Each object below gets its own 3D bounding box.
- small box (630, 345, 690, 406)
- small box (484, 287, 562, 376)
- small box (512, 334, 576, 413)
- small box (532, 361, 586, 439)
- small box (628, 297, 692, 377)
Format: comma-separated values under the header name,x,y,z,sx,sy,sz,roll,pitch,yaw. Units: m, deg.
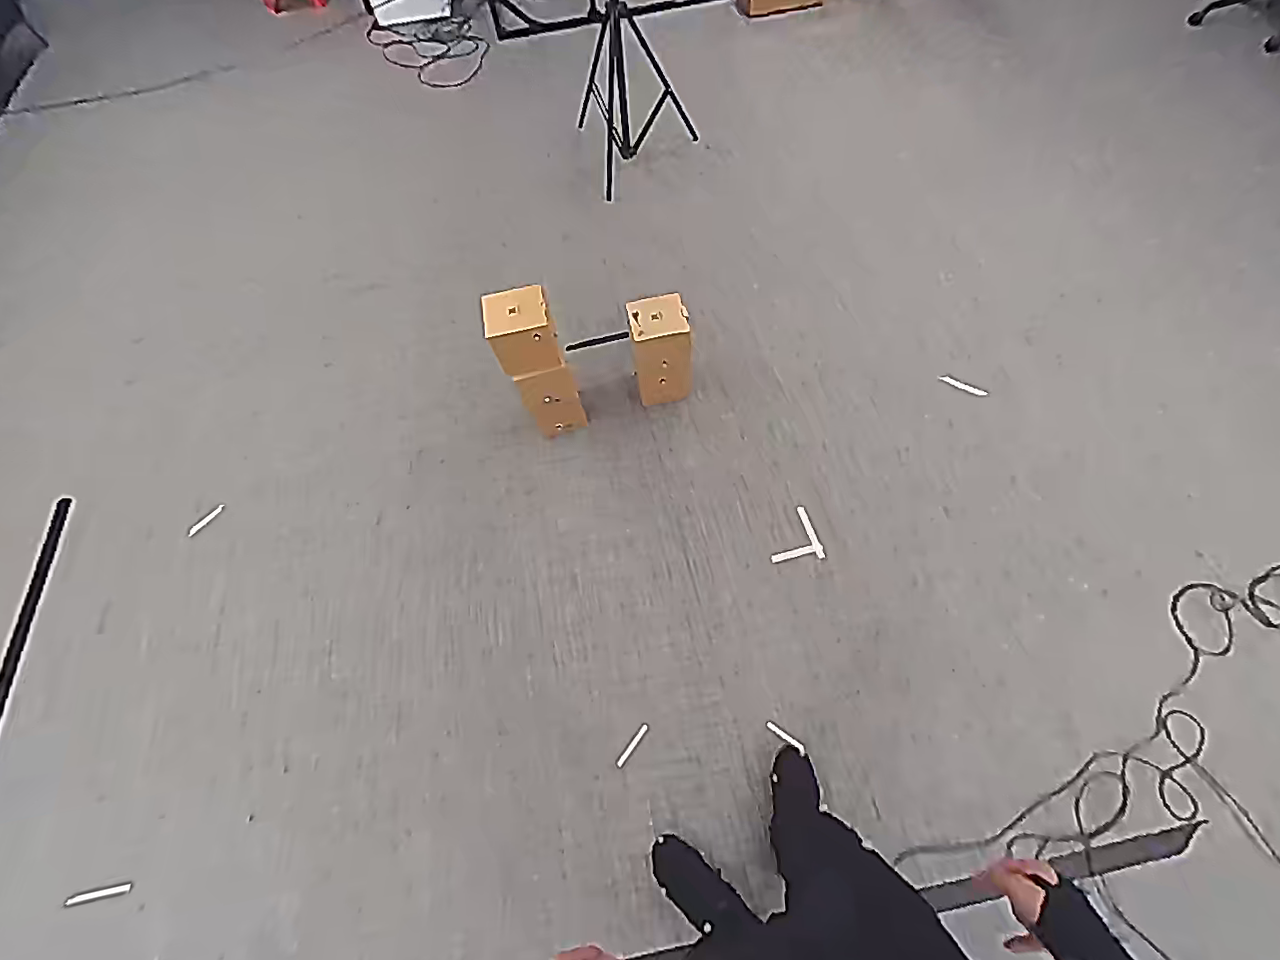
name,x,y,z,sx,sy,sz,roll,pitch,yaw
small box,0.072,-0.378,1.880,0.179,0.176,0.168,-11,63,-2
small box,-0.338,-0.424,1.568,0.179,0.176,0.168,-12,62,-1
small box,-0.312,-0.342,1.706,0.168,0.176,0.179,-17,63,-3
small box,-0.293,-0.272,1.854,0.168,0.176,0.179,-18,63,-5
small box,0.061,-0.455,1.735,0.179,0.176,0.168,-10,62,-2
